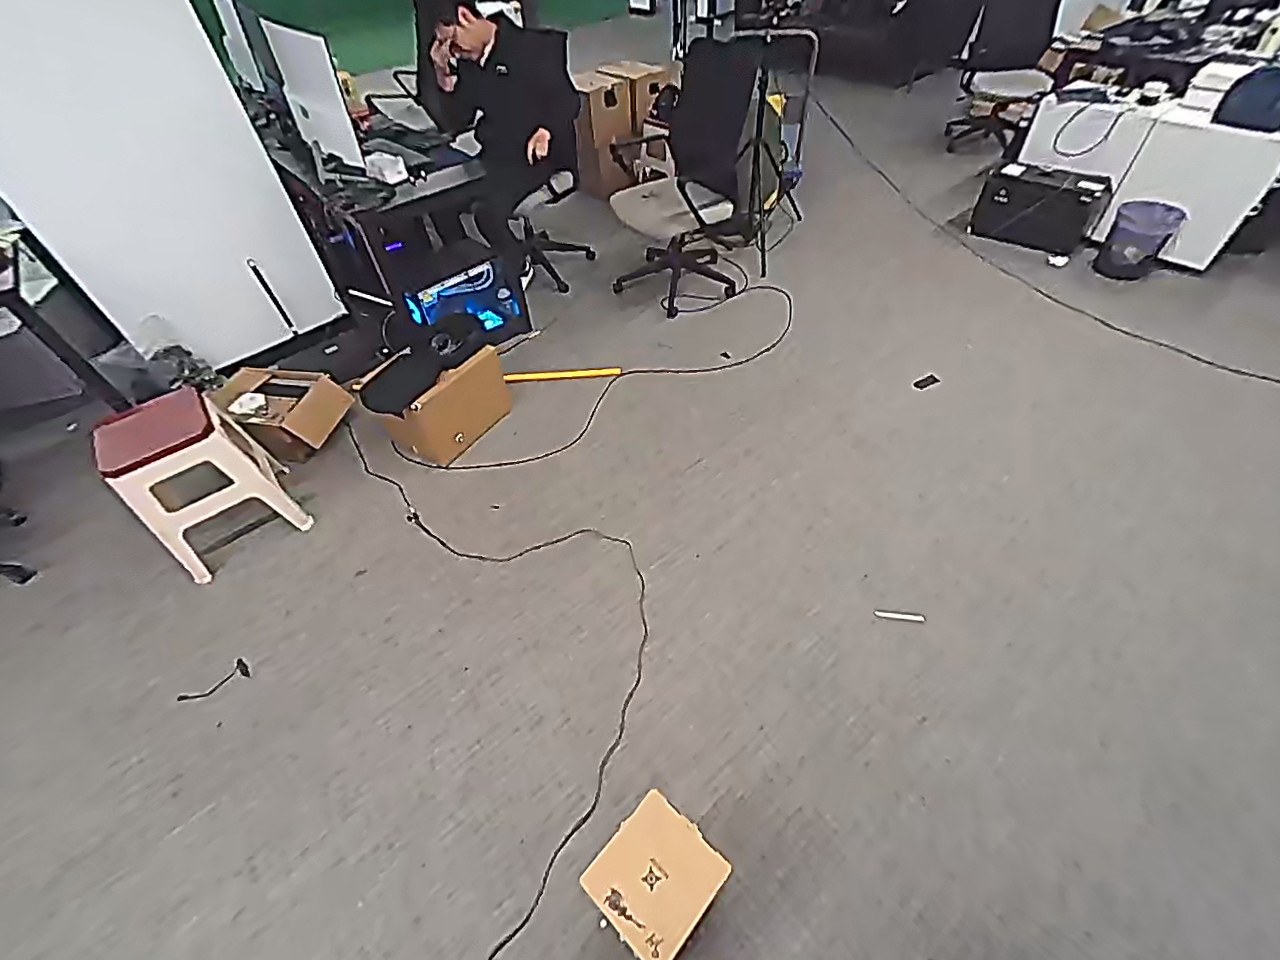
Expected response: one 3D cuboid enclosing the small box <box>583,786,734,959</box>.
[{"bbox_3d":[0.030,0.650,0.882,0.168,0.176,0.179,33,57,29],"label":"small box"}]
